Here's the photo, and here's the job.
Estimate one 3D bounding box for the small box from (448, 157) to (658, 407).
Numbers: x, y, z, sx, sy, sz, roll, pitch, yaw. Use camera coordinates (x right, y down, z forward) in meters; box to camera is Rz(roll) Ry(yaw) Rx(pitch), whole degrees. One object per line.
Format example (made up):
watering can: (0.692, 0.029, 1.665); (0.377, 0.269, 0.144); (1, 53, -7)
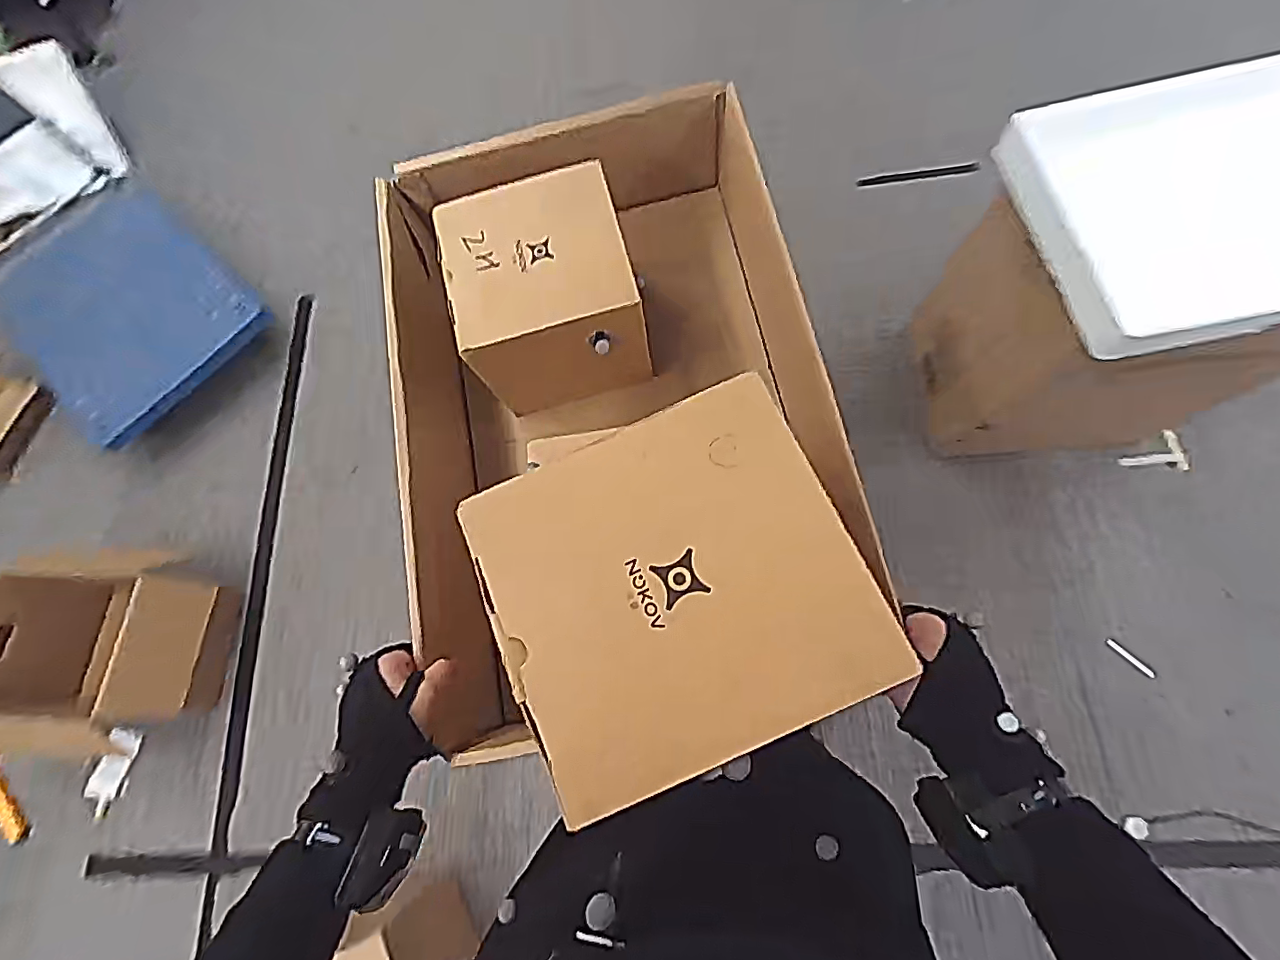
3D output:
small box: (-0.081, -0.199, 0.585); (0.179, 0.176, 0.168); (-15, 75, 1)

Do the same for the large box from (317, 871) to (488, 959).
large box: (-0.466, 1.072, 1.015); (0.320, 0.320, 0.408); (-31, 73, -4)
